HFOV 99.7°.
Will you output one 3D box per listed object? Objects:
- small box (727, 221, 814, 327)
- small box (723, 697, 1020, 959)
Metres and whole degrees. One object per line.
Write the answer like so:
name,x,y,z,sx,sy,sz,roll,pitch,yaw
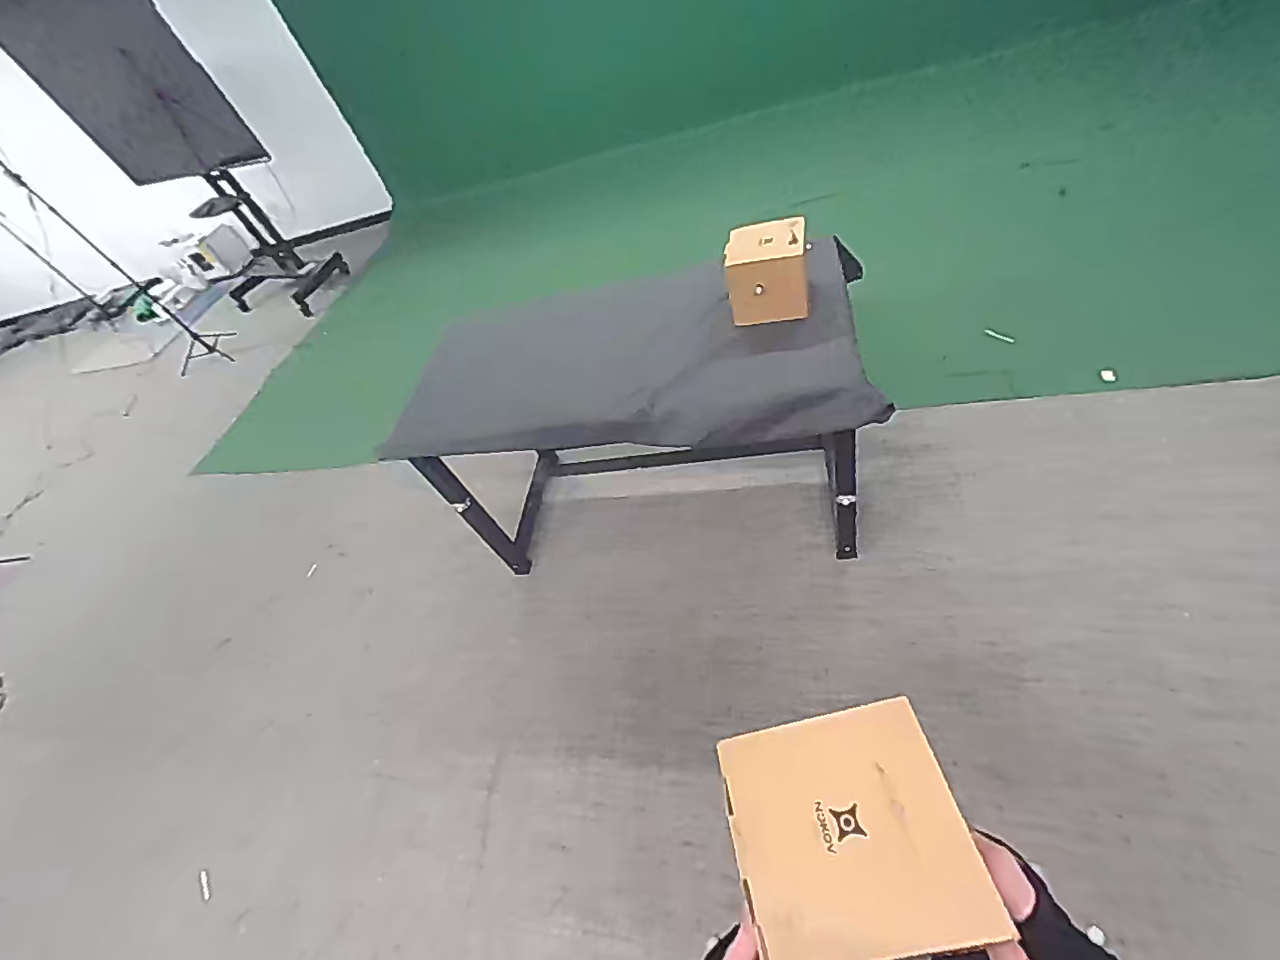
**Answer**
small box,0.320,-0.488,1.304,0.179,0.176,0.168,-2,52,22
small box,0.191,0.323,0.484,0.179,0.176,0.168,-18,46,8
